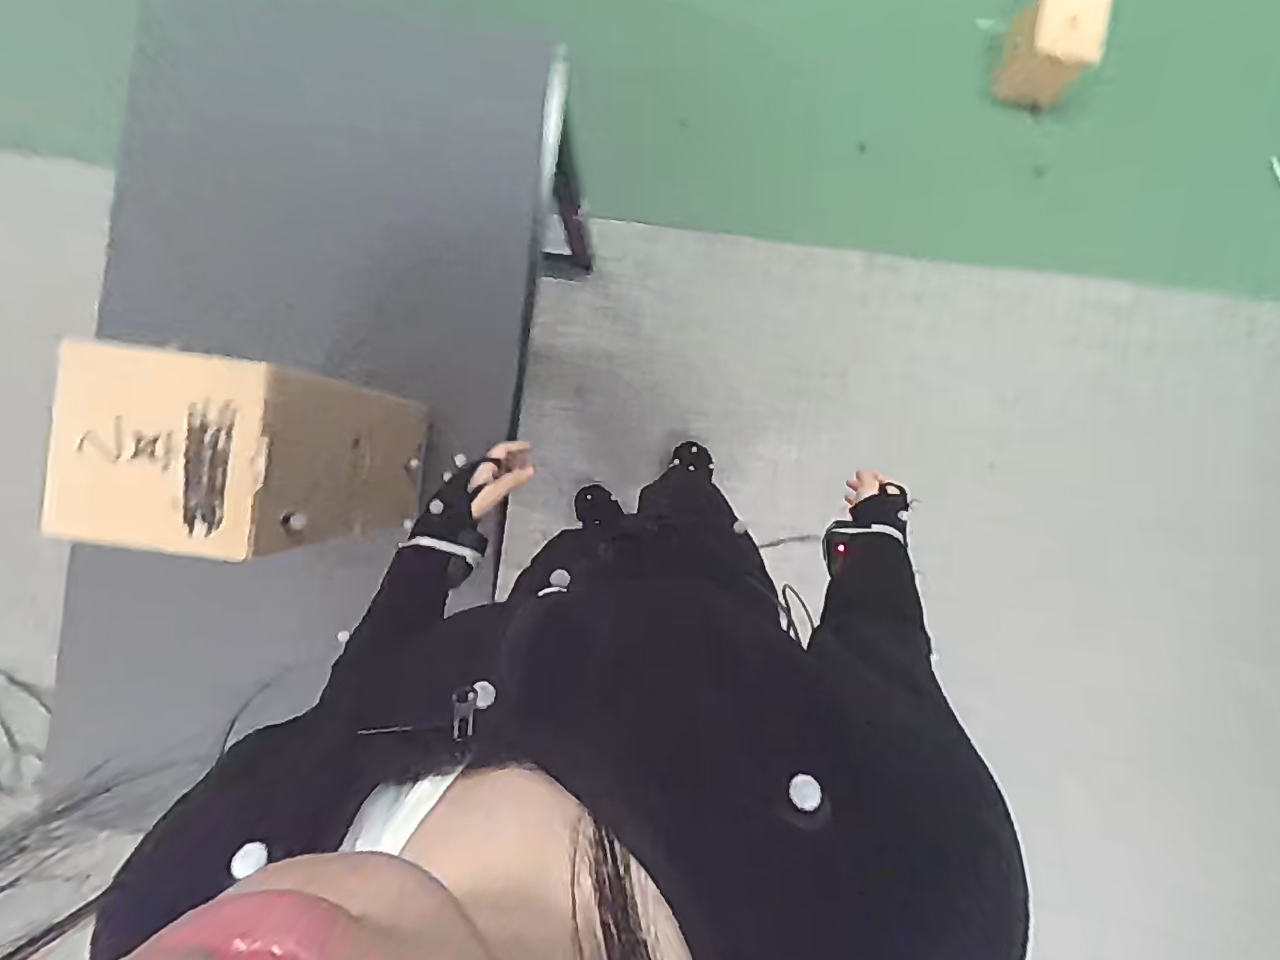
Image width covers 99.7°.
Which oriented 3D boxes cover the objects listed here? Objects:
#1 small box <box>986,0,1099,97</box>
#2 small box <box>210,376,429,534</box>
[{"bbox_3d":[1.043,-1.154,1.412,0.168,0.176,0.179,9,92,-2],"label":"small box"},{"bbox_3d":[-0.396,-0.031,0.695,0.179,0.176,0.168,6,92,-1],"label":"small box"}]
